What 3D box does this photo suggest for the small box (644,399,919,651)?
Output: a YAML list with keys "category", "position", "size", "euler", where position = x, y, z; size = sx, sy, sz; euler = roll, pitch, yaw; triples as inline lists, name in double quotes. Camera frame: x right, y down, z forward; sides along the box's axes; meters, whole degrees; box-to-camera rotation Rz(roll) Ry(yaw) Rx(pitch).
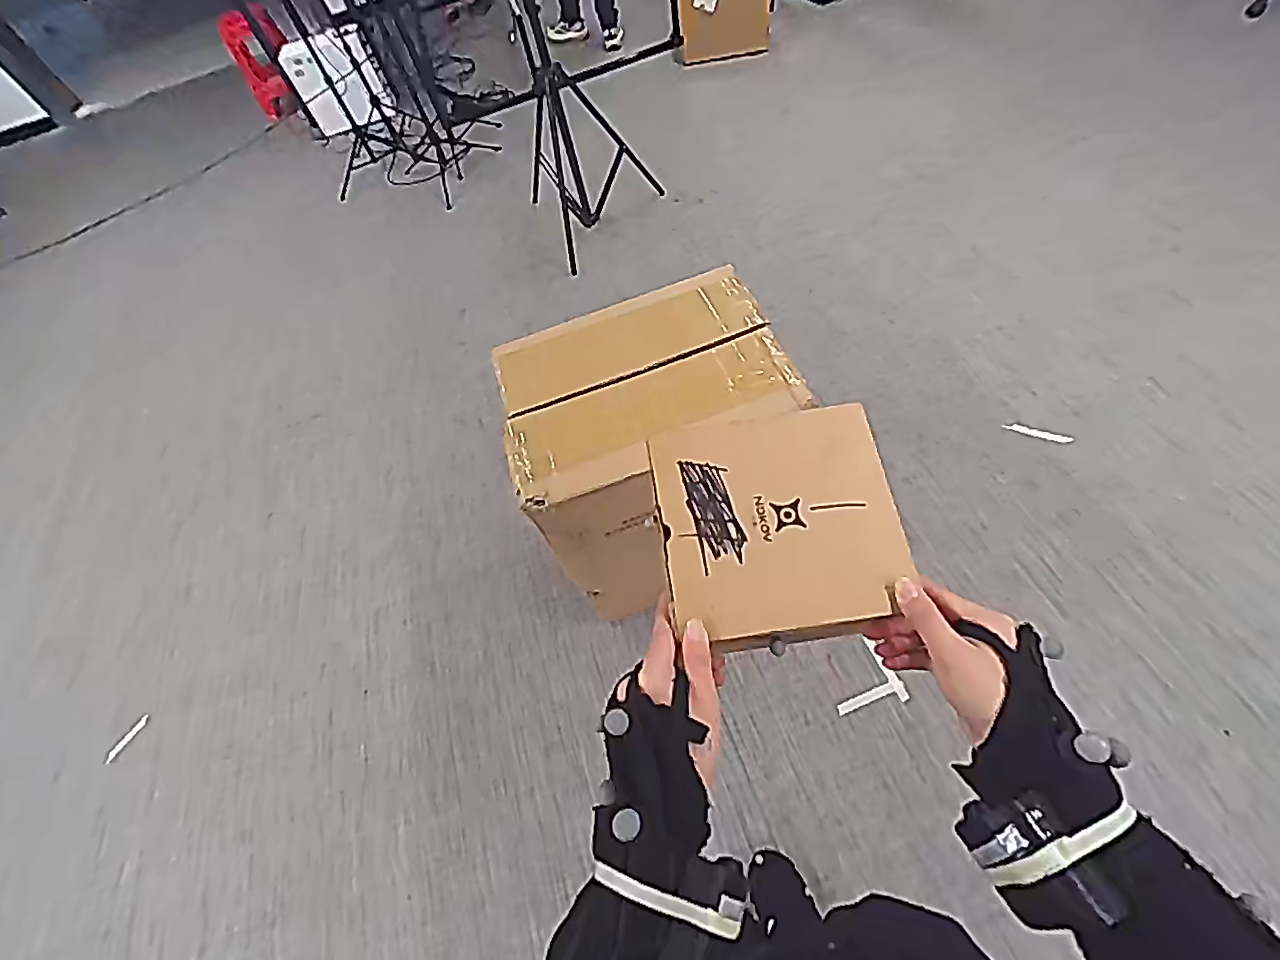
- category: "small box"
  position: [0.105, 0.052, 0.479]
  size: [0.179, 0.176, 0.168]
  euler: [-9, 68, 1]
